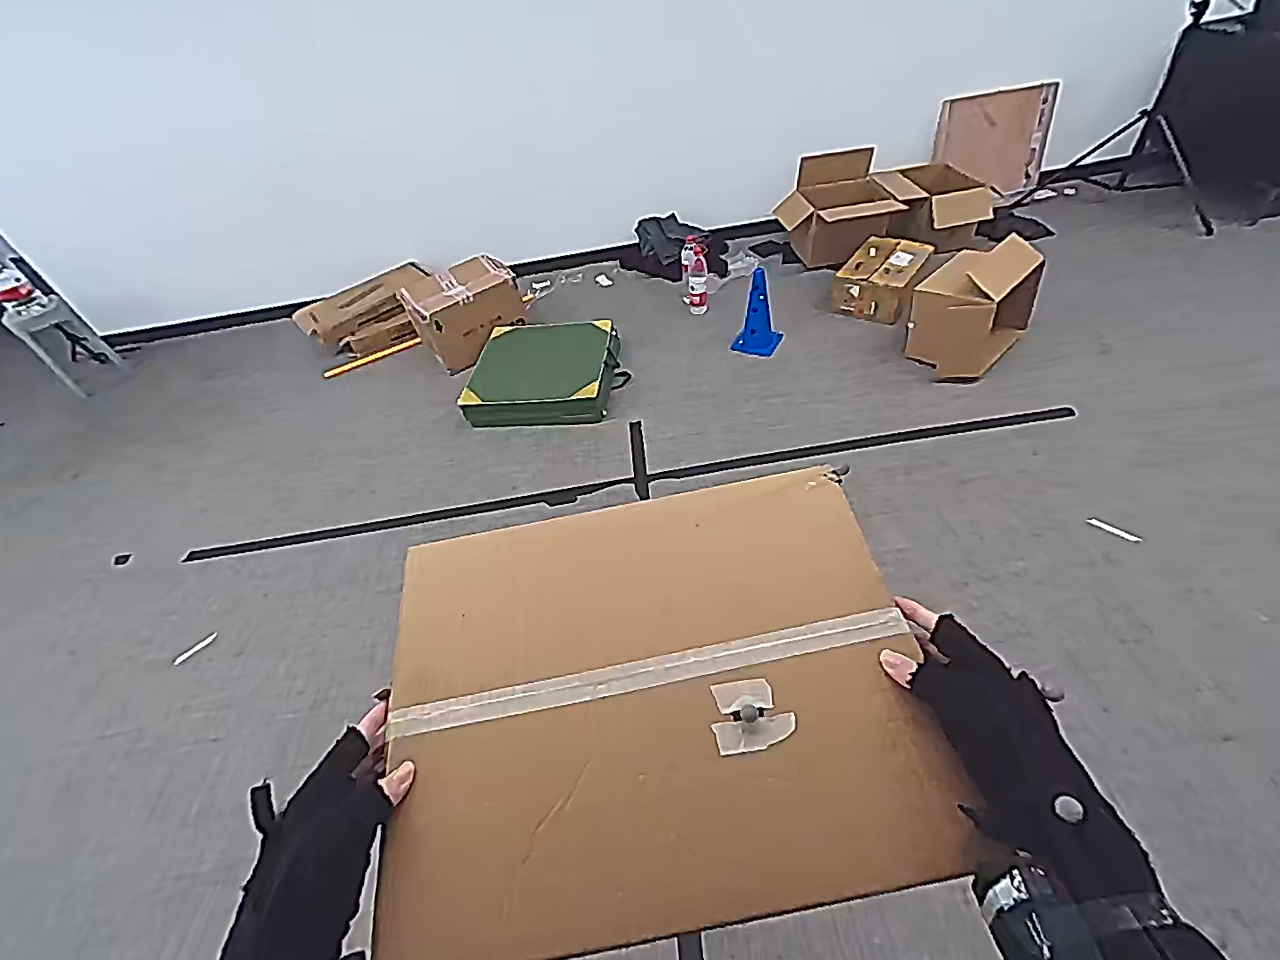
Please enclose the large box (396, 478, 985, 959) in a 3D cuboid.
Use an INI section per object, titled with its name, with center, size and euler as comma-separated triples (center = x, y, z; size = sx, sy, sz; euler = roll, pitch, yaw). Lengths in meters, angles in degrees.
[large box]
center = 0.024, 0.244, 0.556
size = 0.408, 0.320, 0.320
euler = -11, 55, -1
